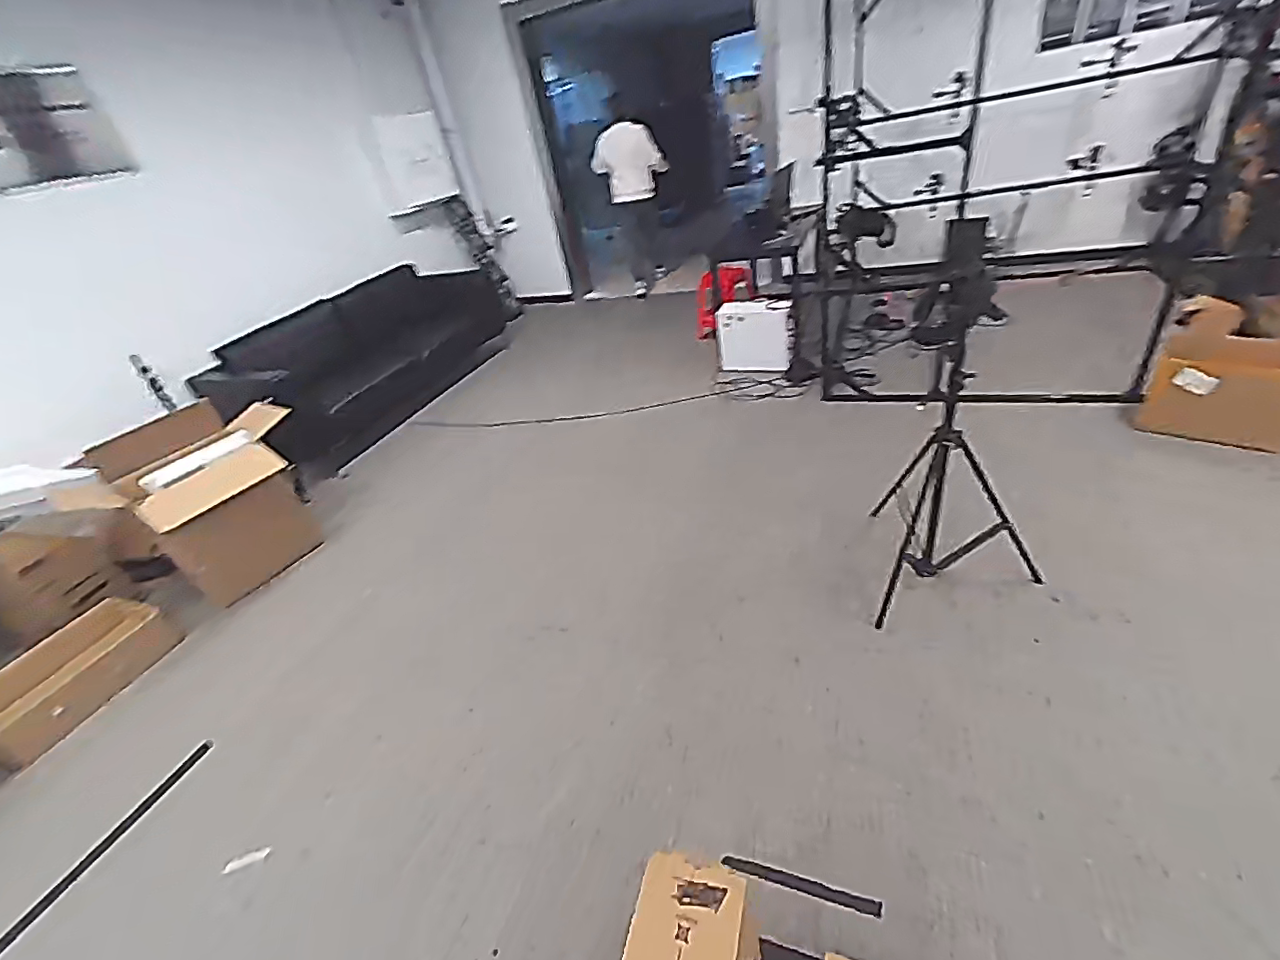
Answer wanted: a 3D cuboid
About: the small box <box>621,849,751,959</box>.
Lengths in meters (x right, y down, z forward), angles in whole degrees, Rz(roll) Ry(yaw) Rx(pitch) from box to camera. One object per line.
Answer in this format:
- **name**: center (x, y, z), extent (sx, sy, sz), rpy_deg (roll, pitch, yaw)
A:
- **small box**: center (0.082, 0.743, 0.866), extent (0.168, 0.176, 0.179), rpy_deg (3, 36, 21)
